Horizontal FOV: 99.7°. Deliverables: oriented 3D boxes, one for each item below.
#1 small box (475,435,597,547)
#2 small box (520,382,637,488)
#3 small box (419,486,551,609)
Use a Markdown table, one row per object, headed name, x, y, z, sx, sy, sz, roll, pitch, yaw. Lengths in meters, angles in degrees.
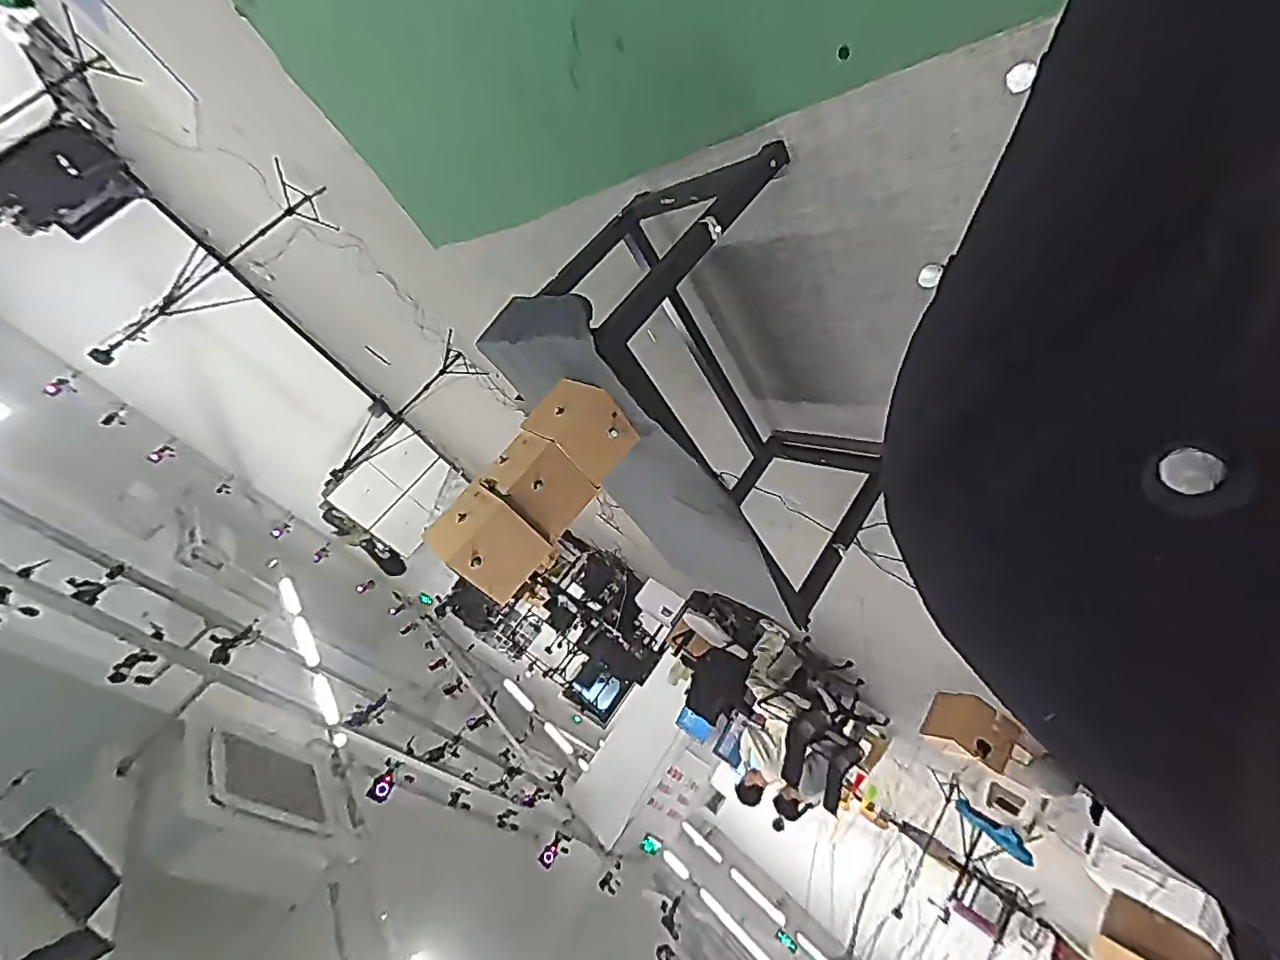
| name | x | y | z | sx | sy | sz | roll | pitch | yaw |
| --- | --- | --- | --- | --- | --- | --- | --- | --- | --- |
| small box | -0.234 | 0.019 | 1.231 | 0.168 | 0.176 | 0.179 | 20 | 157 | 53 |
| small box | -0.140 | -0.109 | 1.268 | 0.179 | 0.176 | 0.168 | 22 | 157 | 45 |
| small box | -0.329 | 0.138 | 1.163 | 0.168 | 0.176 | 0.179 | 24 | 158 | 49 |
